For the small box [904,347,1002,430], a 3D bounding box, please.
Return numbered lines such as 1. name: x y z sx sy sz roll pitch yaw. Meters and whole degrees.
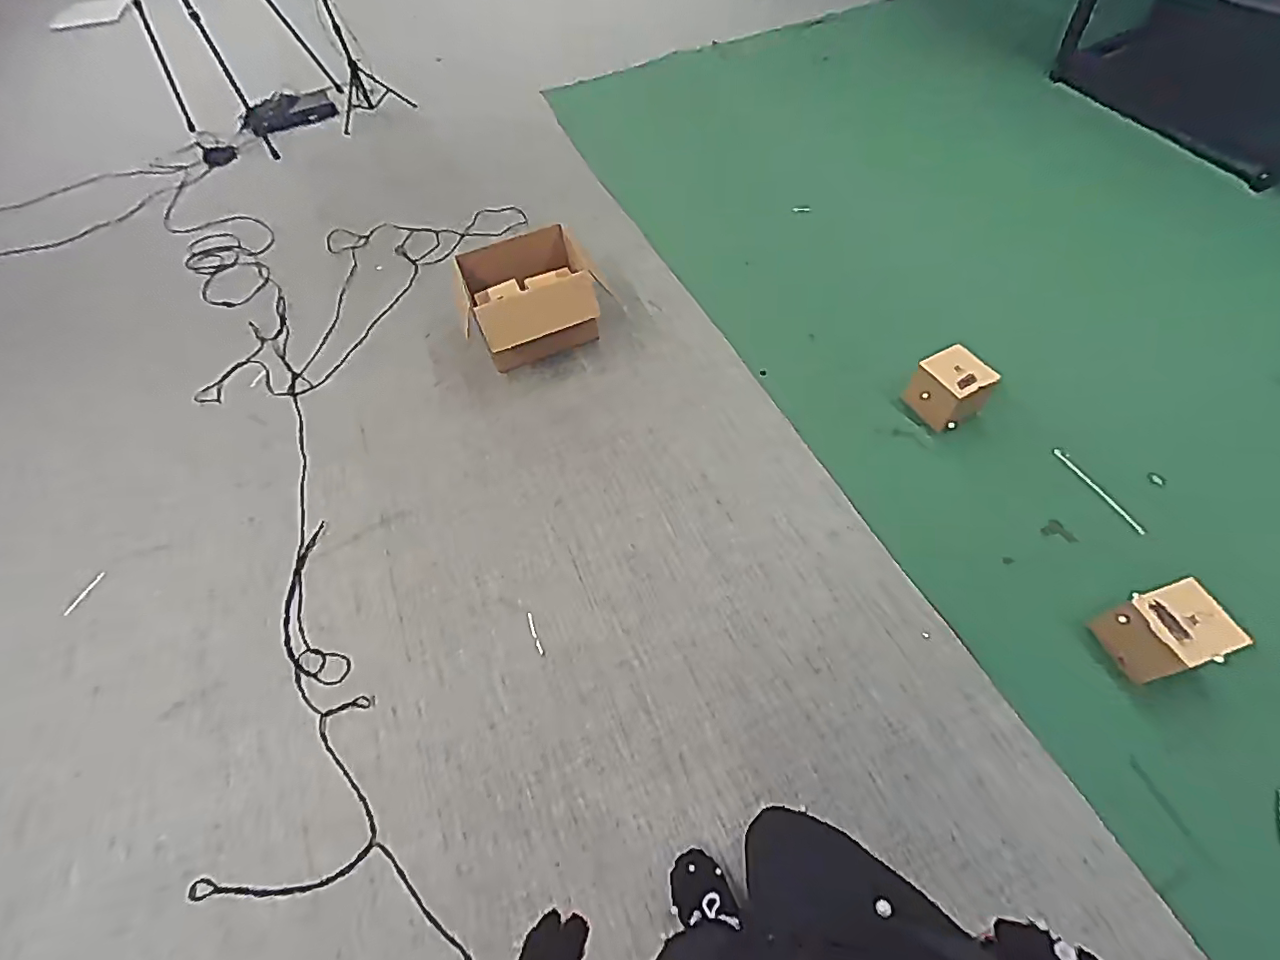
1. small box: 0.981 -0.282 1.711 0.168 0.176 0.179 -25 58 -11
